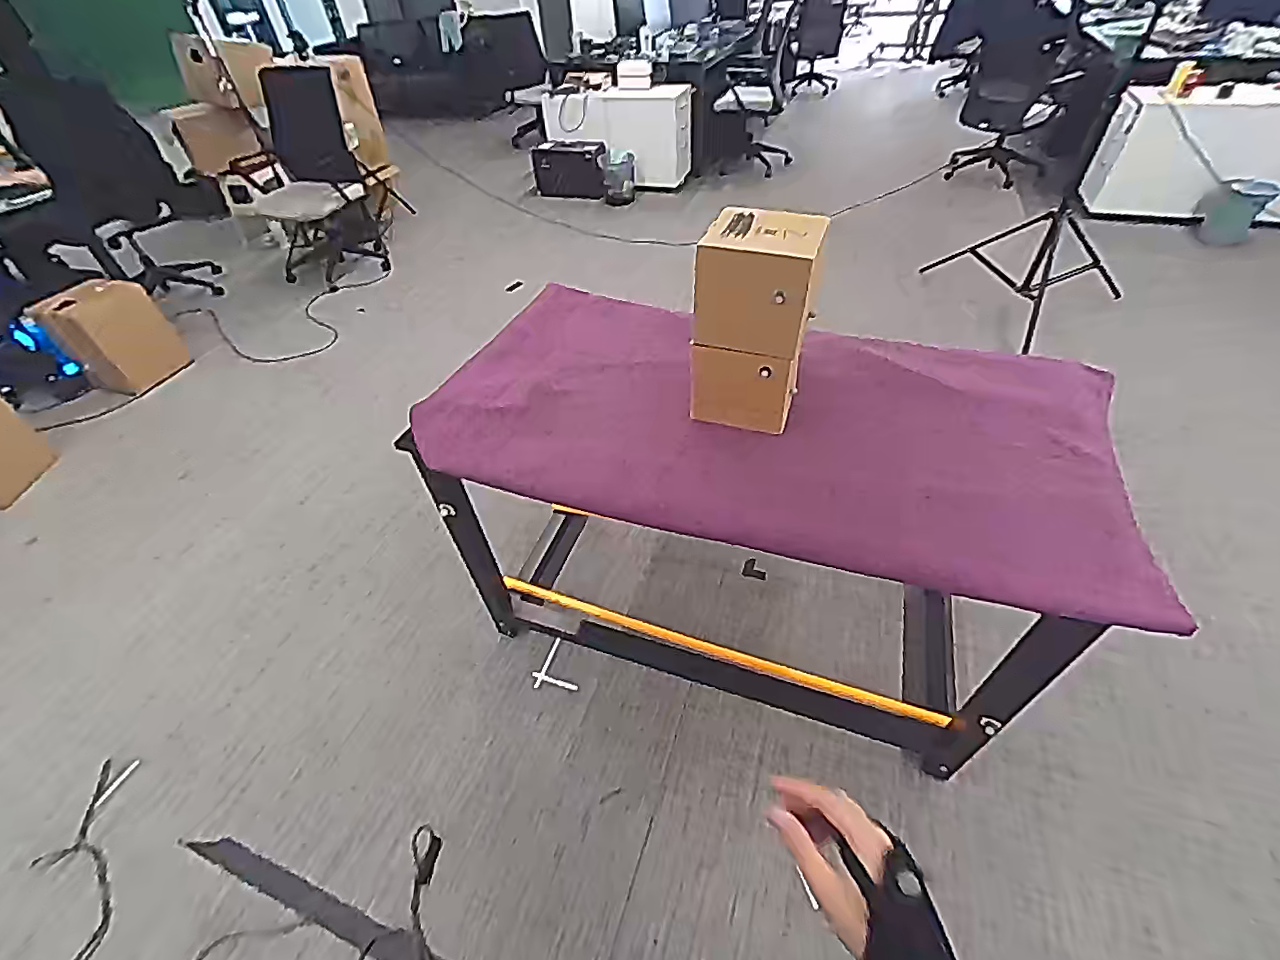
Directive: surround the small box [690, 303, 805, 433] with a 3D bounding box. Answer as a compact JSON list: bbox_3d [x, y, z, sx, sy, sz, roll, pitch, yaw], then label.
[{"bbox_3d":[0.197,-0.209,1.011,0.179,0.176,0.168,13,47,16],"label":"small box"}]
